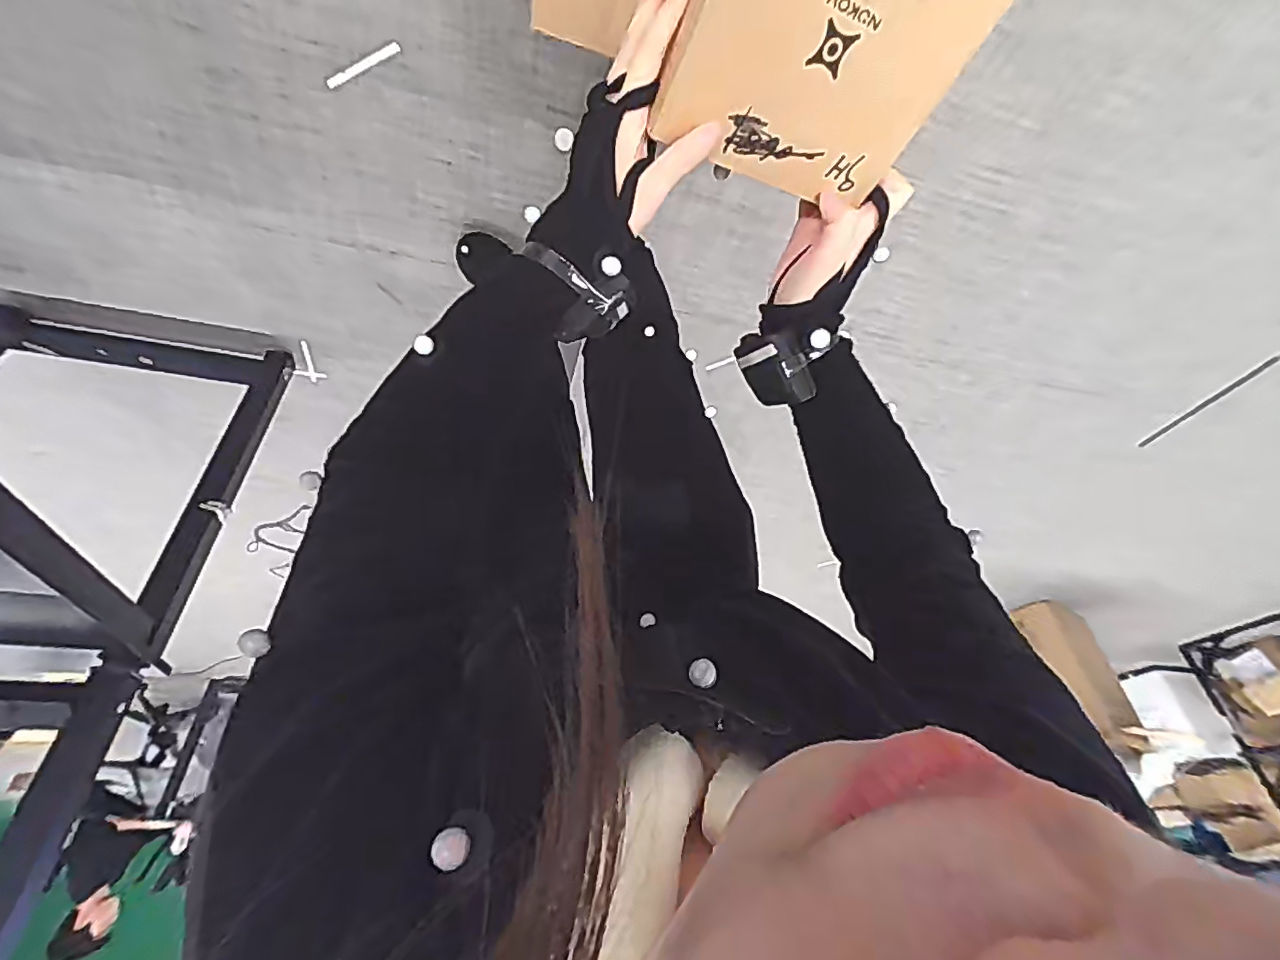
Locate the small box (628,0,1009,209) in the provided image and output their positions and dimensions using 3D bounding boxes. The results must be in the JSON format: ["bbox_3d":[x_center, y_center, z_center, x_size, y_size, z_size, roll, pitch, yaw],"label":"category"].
[{"bbox_3d":[0.102,-0.318,0.340,0.168,0.176,0.179,7,142,-23],"label":"small box"}]
